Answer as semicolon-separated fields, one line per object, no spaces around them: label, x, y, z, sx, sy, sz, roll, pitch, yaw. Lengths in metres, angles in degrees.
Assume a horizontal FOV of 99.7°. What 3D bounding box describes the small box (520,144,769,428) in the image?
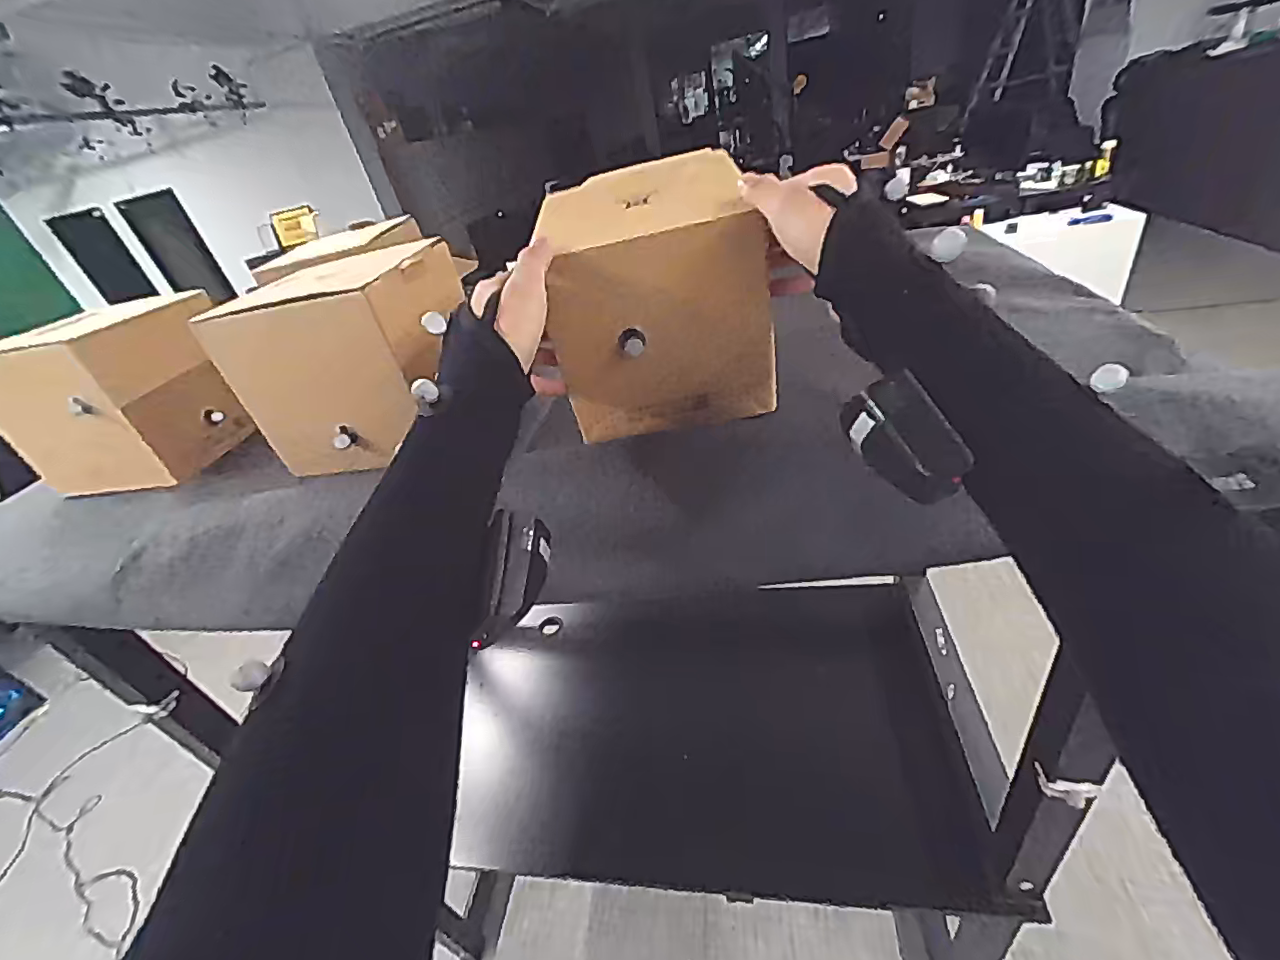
small box;0.012;-0.160;0.469;0.168;0.176;0.179;-11;41;6

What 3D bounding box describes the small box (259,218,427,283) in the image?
small box;-0.402;-0.271;0.808;0.168;0.176;0.179;-10;35;8

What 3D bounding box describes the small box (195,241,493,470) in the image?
small box;-0.275;-0.125;0.555;0.179;0.176;0.168;-5;35;12
